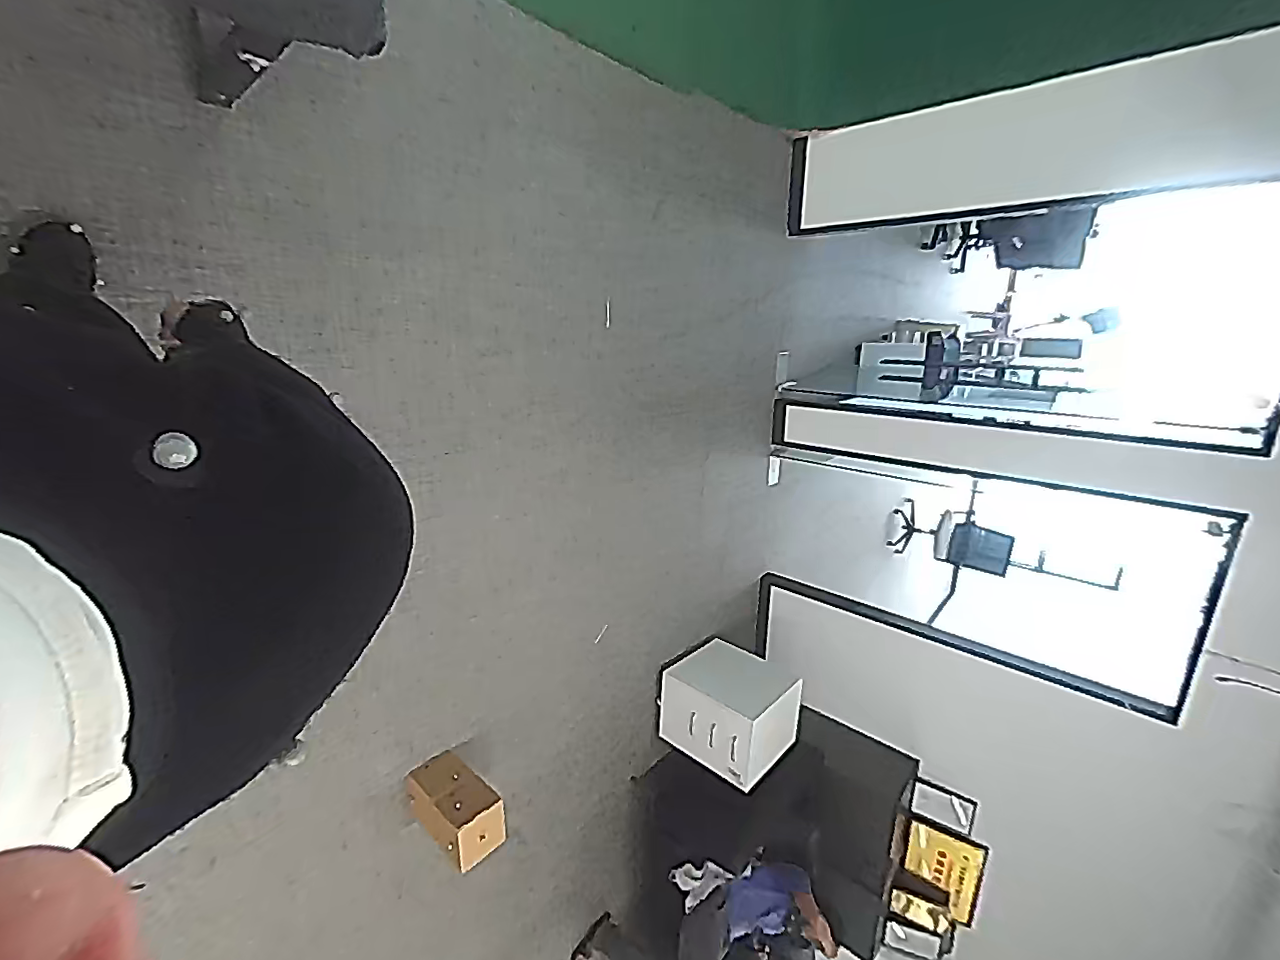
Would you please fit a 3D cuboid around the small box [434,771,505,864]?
[{"bbox_3d":[-0.570,1.110,1.800,0.168,0.176,0.179,-18,116,-46],"label":"small box"}]

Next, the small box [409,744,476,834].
[{"bbox_3d":[-0.692,1.078,1.901,0.168,0.176,0.179,-16,113,-48],"label":"small box"}]
